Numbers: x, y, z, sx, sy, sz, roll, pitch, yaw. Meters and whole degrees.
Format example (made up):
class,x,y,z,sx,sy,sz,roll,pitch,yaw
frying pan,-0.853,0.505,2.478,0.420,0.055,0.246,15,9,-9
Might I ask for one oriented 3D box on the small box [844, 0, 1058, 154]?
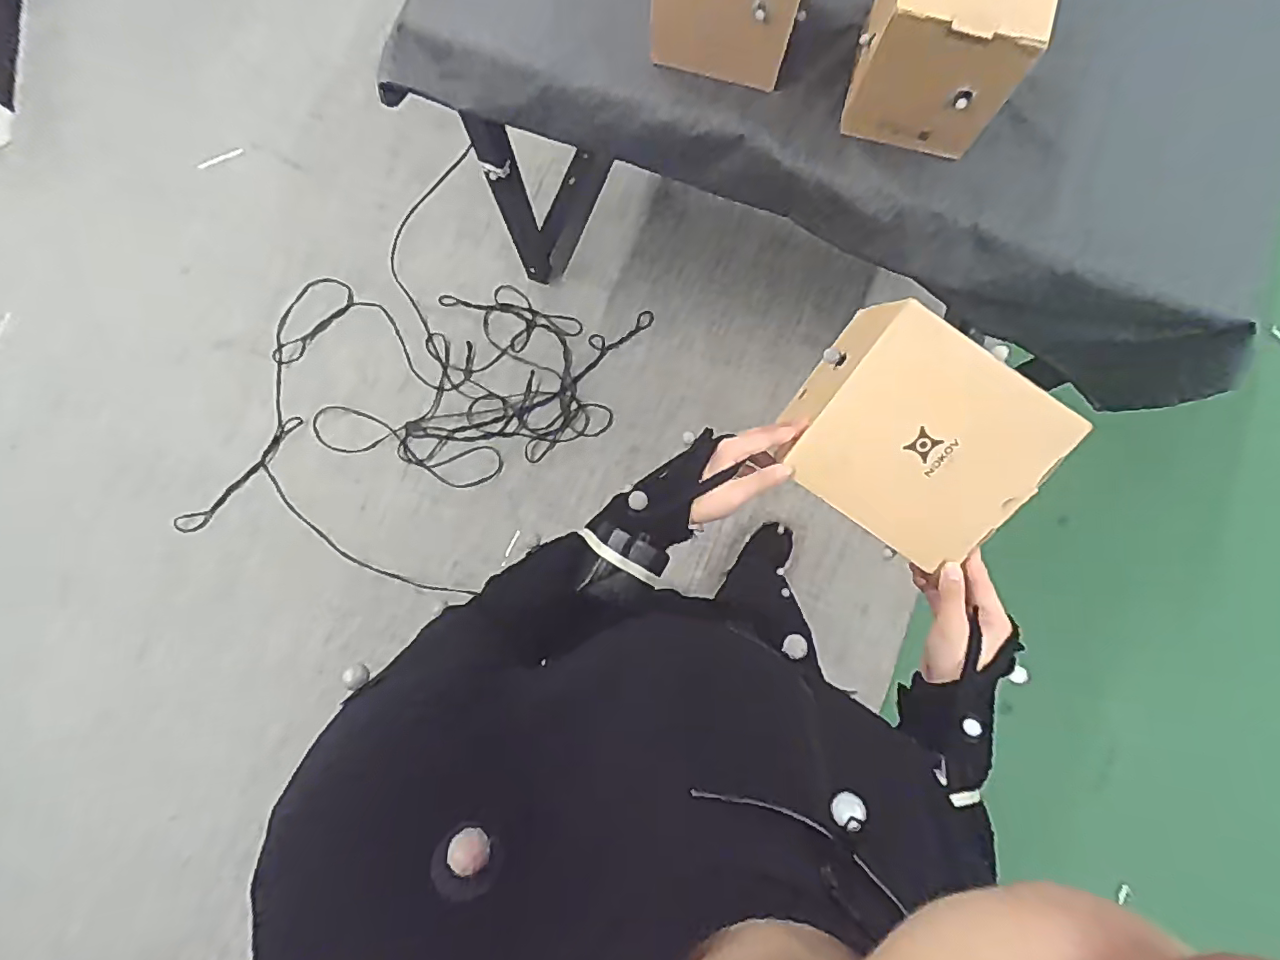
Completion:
class,x,y,z,sx,sy,sz,roll,pitch,yaw
small box,0.366,-0.538,0.652,0.168,0.176,0.179,15,81,1
